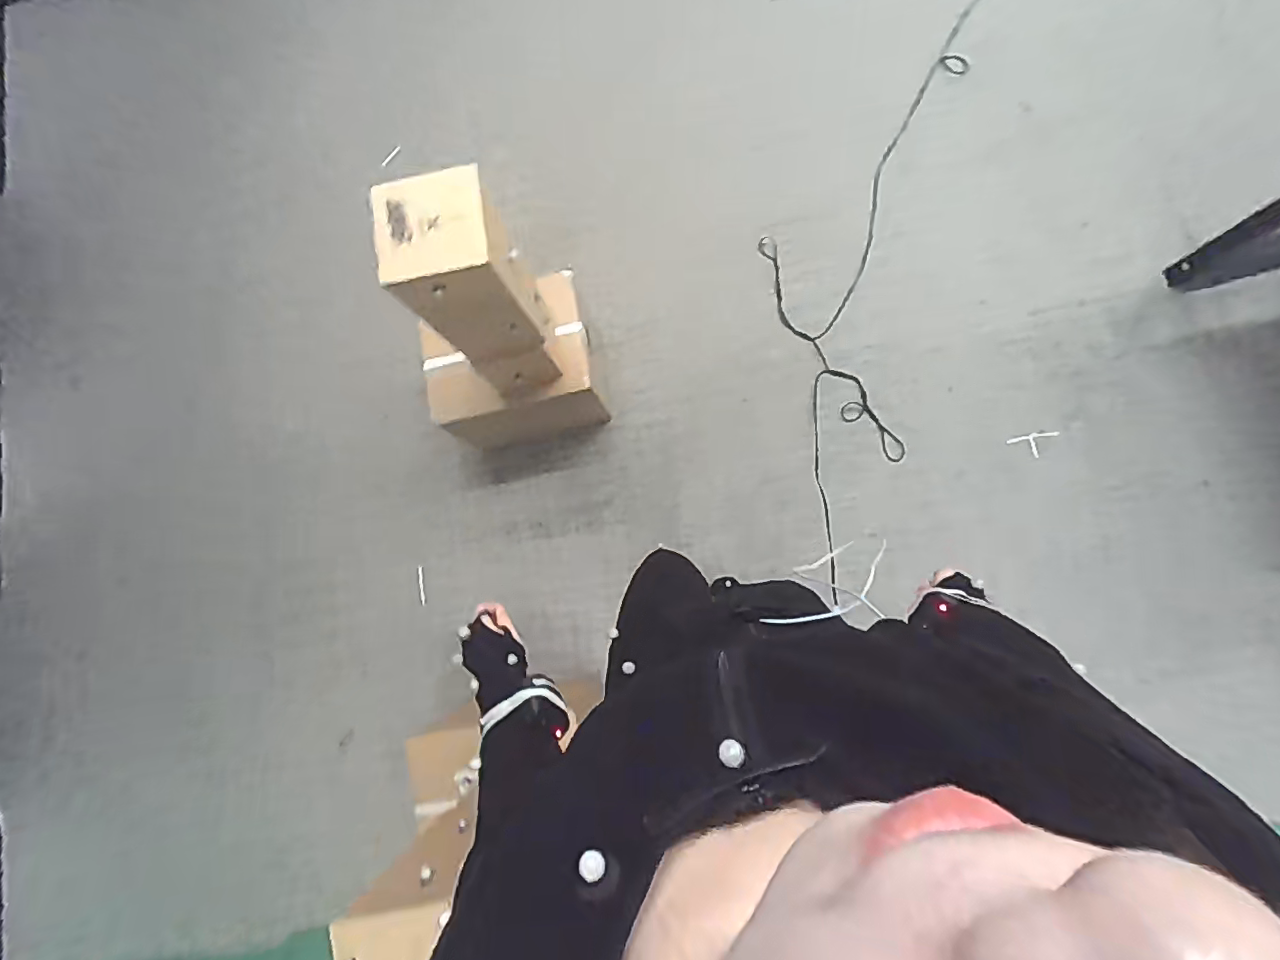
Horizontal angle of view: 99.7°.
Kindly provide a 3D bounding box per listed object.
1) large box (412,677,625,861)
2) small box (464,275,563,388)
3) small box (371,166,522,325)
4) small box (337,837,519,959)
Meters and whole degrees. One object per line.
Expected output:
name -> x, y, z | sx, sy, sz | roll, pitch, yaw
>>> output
large box -> -0.279, 0.713, 1.340 | 0.408, 0.320, 0.320 | -12, 81, 6
small box -> -0.287, -0.330, 1.227 | 0.168, 0.176, 0.179 | -14, 83, 5
small box -> -0.314, -0.377, 0.902 | 0.179, 0.176, 0.168 | -10, 83, 4
small box -> -0.285, 0.645, 0.768 | 0.179, 0.176, 0.168 | -15, 81, 5
